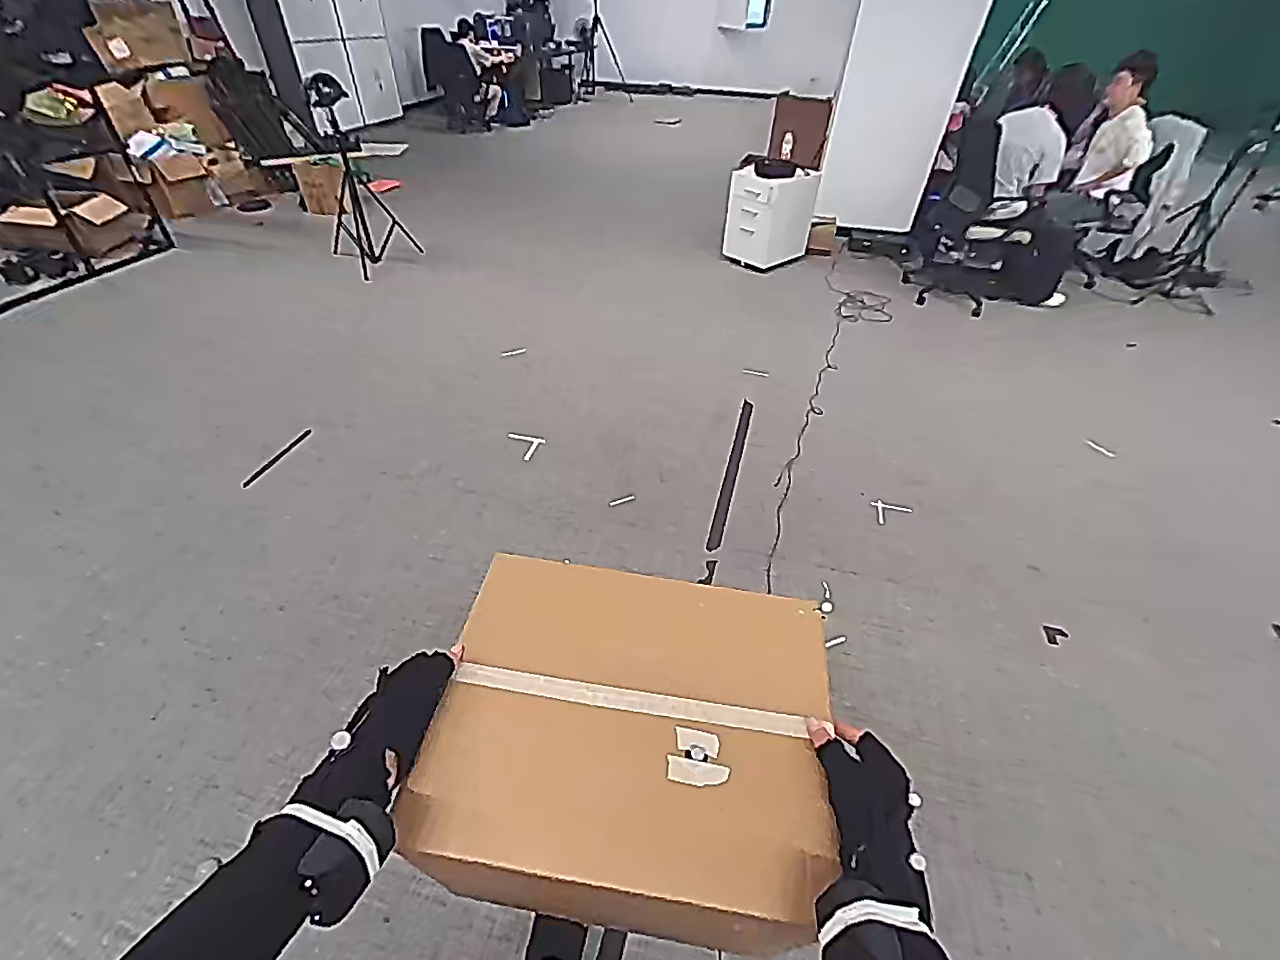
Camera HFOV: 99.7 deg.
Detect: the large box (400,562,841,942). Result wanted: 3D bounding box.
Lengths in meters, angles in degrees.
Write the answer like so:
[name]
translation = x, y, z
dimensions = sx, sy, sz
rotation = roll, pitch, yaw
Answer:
[large box]
translation = -0.013, 0.339, 0.682
dimensions = 0.408, 0.320, 0.320
rotation = 8, 46, 3
